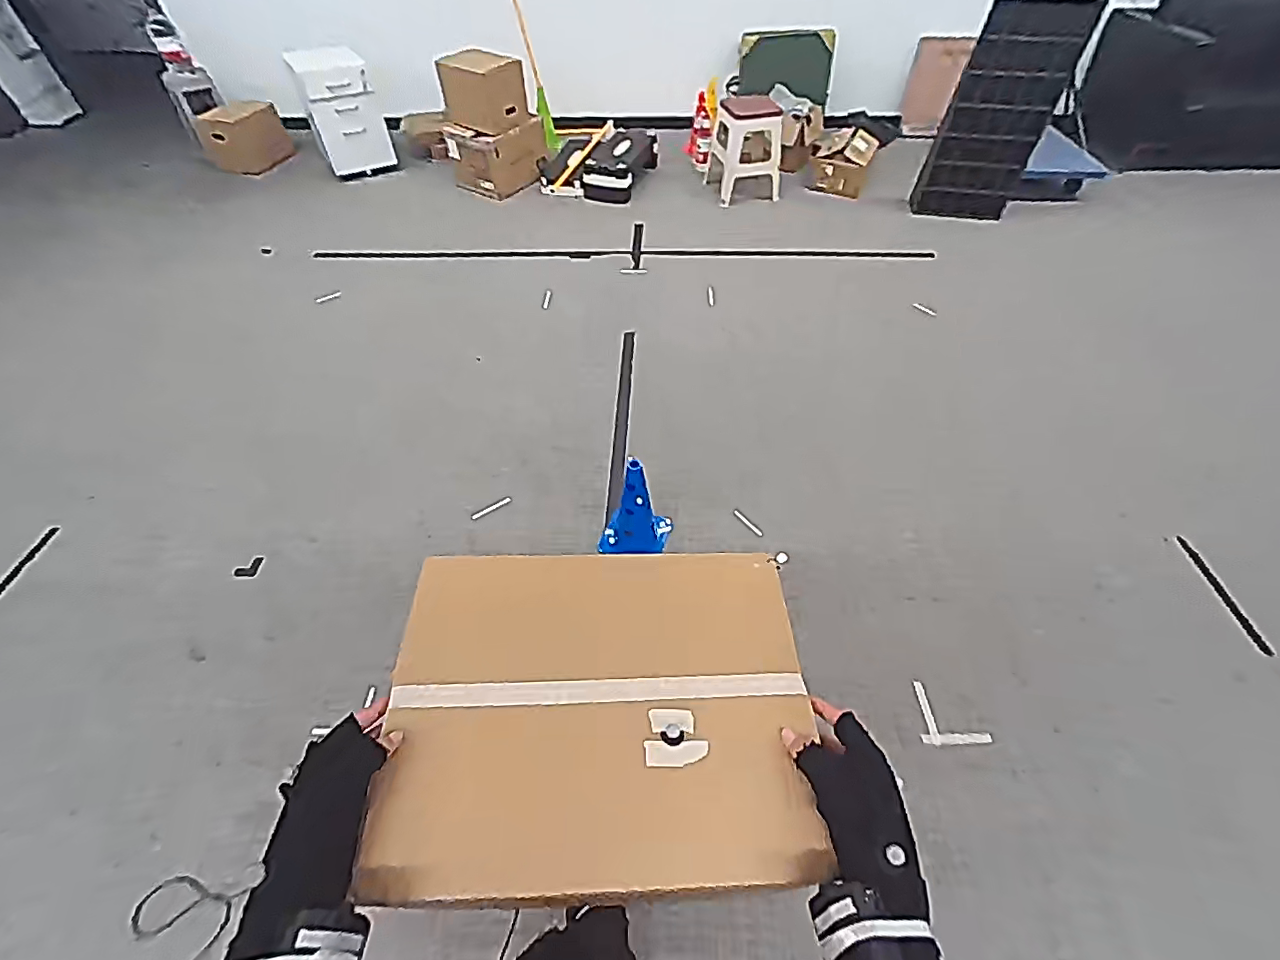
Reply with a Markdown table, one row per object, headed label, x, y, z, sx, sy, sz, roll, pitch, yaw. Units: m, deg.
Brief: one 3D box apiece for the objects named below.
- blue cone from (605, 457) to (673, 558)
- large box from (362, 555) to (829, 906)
| label | x | y | z | sx | sy | sz | roll | pitch | yaw |
| --- | --- | --- | --- | --- | --- | --- | --- | --- | --- |
| blue cone | -0.004 | 0.076 | 1.646 | 0.193 | 0.380 | 0.192 | 18 | 52 | 15 |
| large box | -0.047 | 0.306 | 0.661 | 0.408 | 0.320 | 0.320 | 0 | 50 | -3 |
